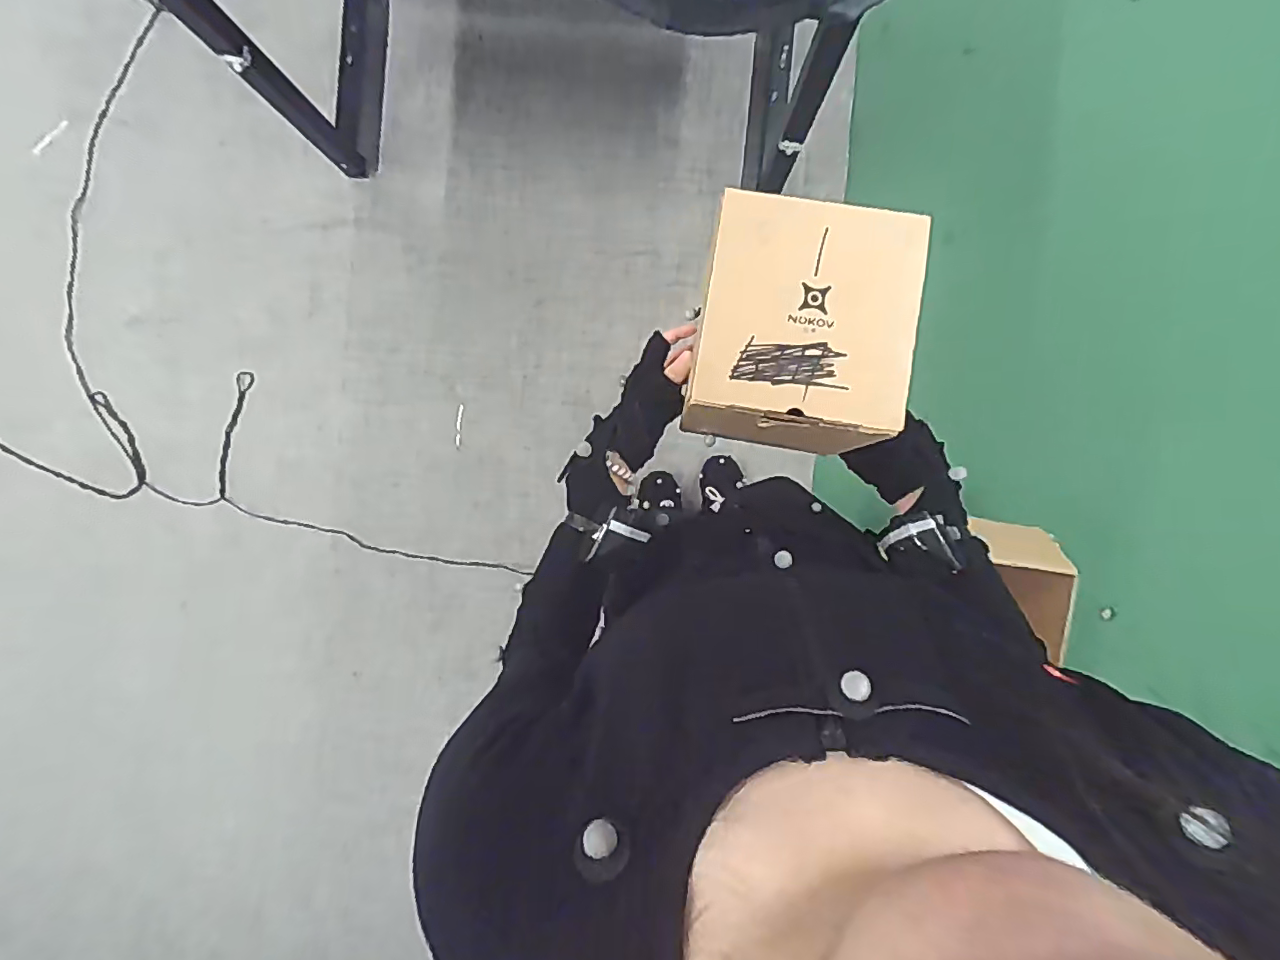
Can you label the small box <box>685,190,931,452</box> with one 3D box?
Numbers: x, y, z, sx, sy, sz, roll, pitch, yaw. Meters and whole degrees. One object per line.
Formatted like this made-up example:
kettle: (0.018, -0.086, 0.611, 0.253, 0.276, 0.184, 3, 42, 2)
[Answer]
small box: (0.136, -0.128, 0.501, 0.168, 0.176, 0.179, 9, 86, 1)
